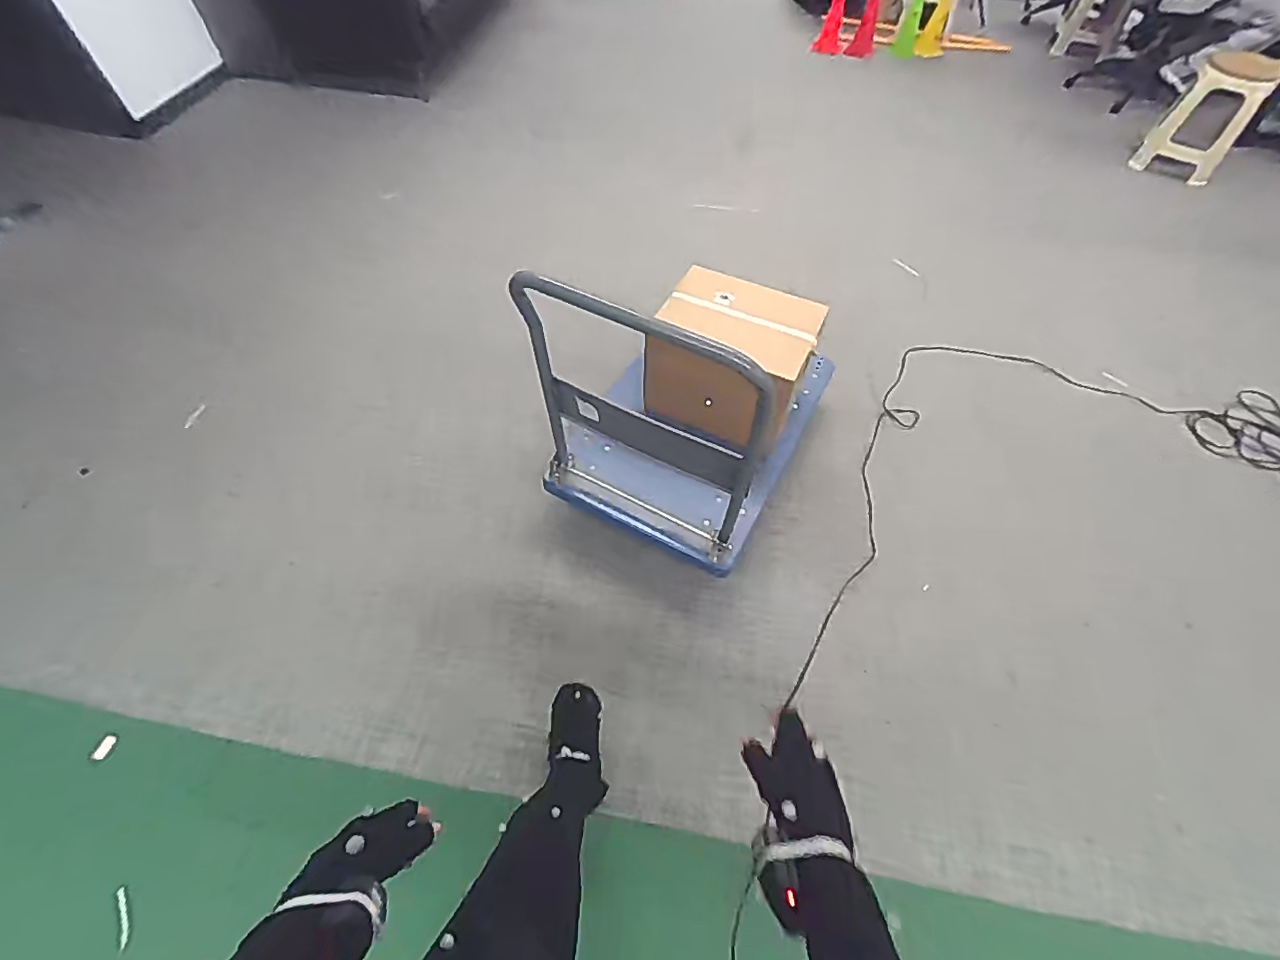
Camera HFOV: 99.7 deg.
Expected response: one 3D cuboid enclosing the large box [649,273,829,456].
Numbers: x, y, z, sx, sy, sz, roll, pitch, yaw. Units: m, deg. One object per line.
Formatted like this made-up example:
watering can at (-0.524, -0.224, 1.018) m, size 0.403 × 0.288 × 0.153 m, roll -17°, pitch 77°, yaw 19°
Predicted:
large box at (0.269, -0.327, 1.551) m, size 0.408 × 0.320 × 0.320 m, roll 23°, pitch 58°, yaw 15°
